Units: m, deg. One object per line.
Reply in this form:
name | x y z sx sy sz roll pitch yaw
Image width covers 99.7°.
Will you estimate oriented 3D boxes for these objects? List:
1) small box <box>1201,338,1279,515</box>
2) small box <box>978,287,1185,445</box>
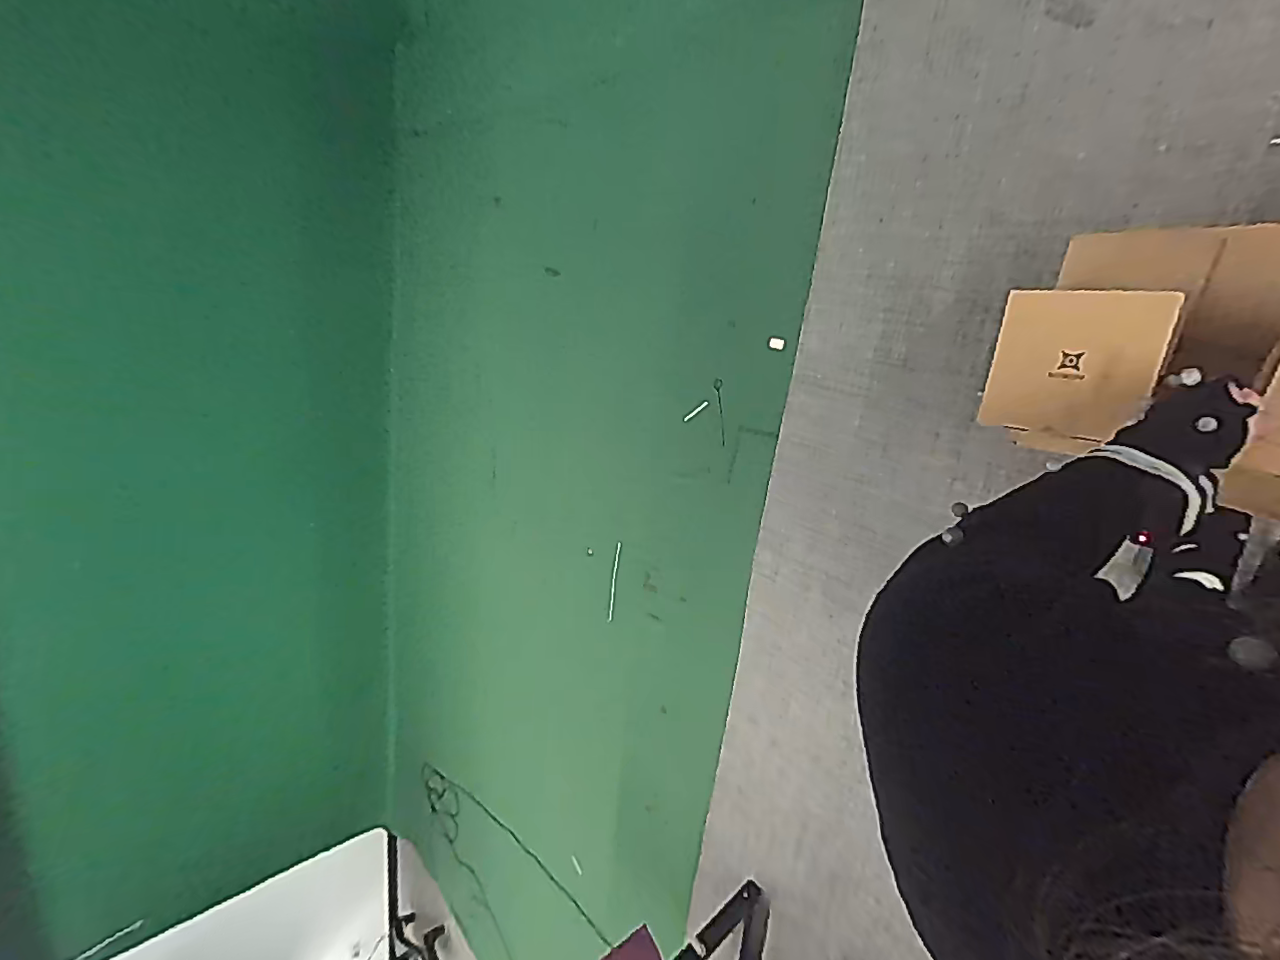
small box | 0.702 -0.048 0.529 0.168 0.176 0.179 28 95 39
small box | 0.583 -0.154 0.719 0.168 0.176 0.179 20 112 42
